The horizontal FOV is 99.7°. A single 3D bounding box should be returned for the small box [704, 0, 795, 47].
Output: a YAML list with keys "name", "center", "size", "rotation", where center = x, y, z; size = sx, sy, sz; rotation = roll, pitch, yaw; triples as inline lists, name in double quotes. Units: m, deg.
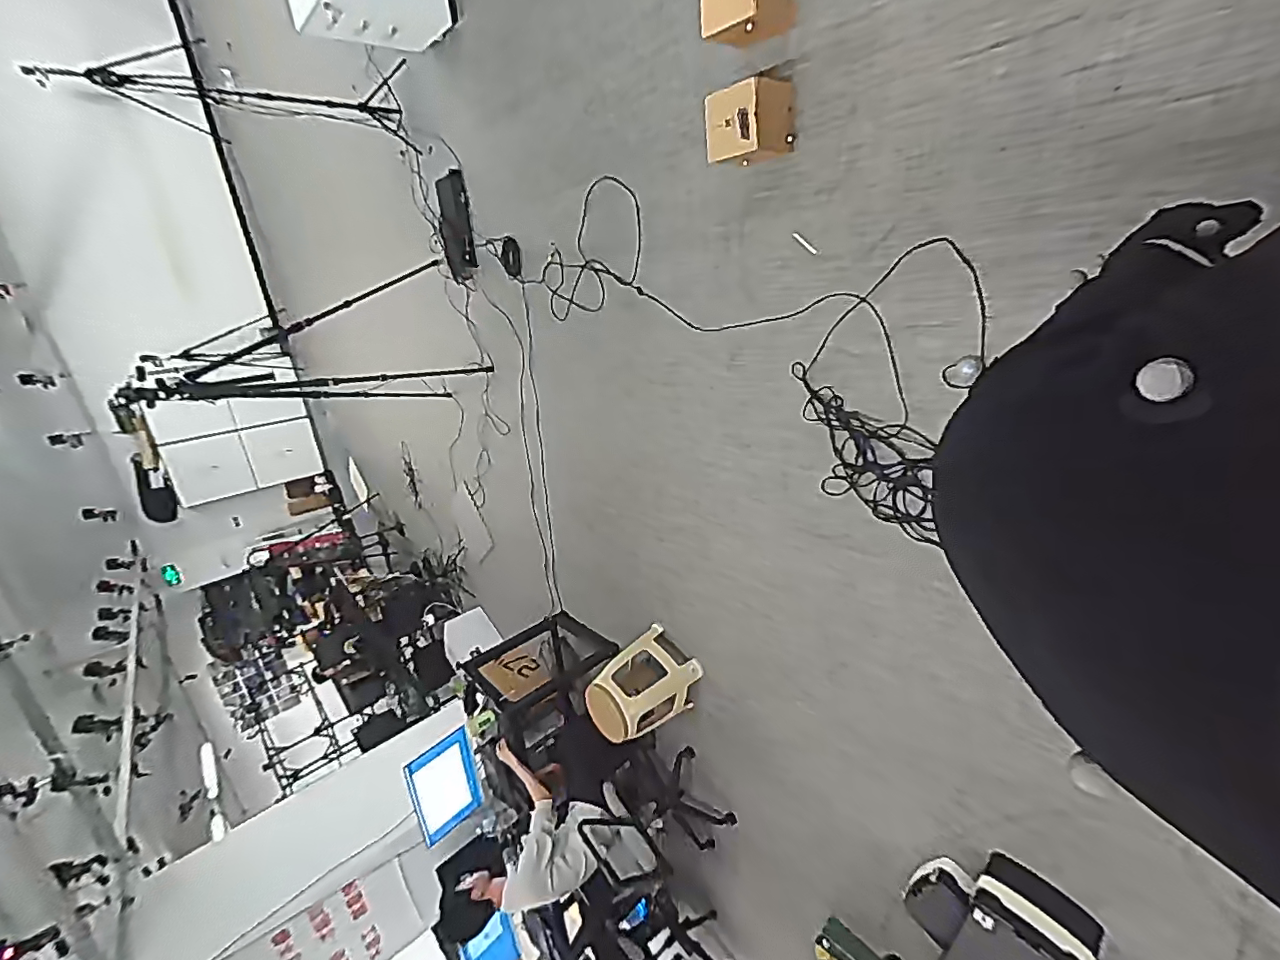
- name: "small box"
  center: [0.283, -1.258, 1.397]
  size: [0.179, 0.176, 0.168]
  rotation: [18, 120, 45]

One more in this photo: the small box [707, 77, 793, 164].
- name: "small box"
  center: [0.308, -0.986, 1.496]
  size: [0.179, 0.176, 0.168]
  rotation: [17, 120, 47]
